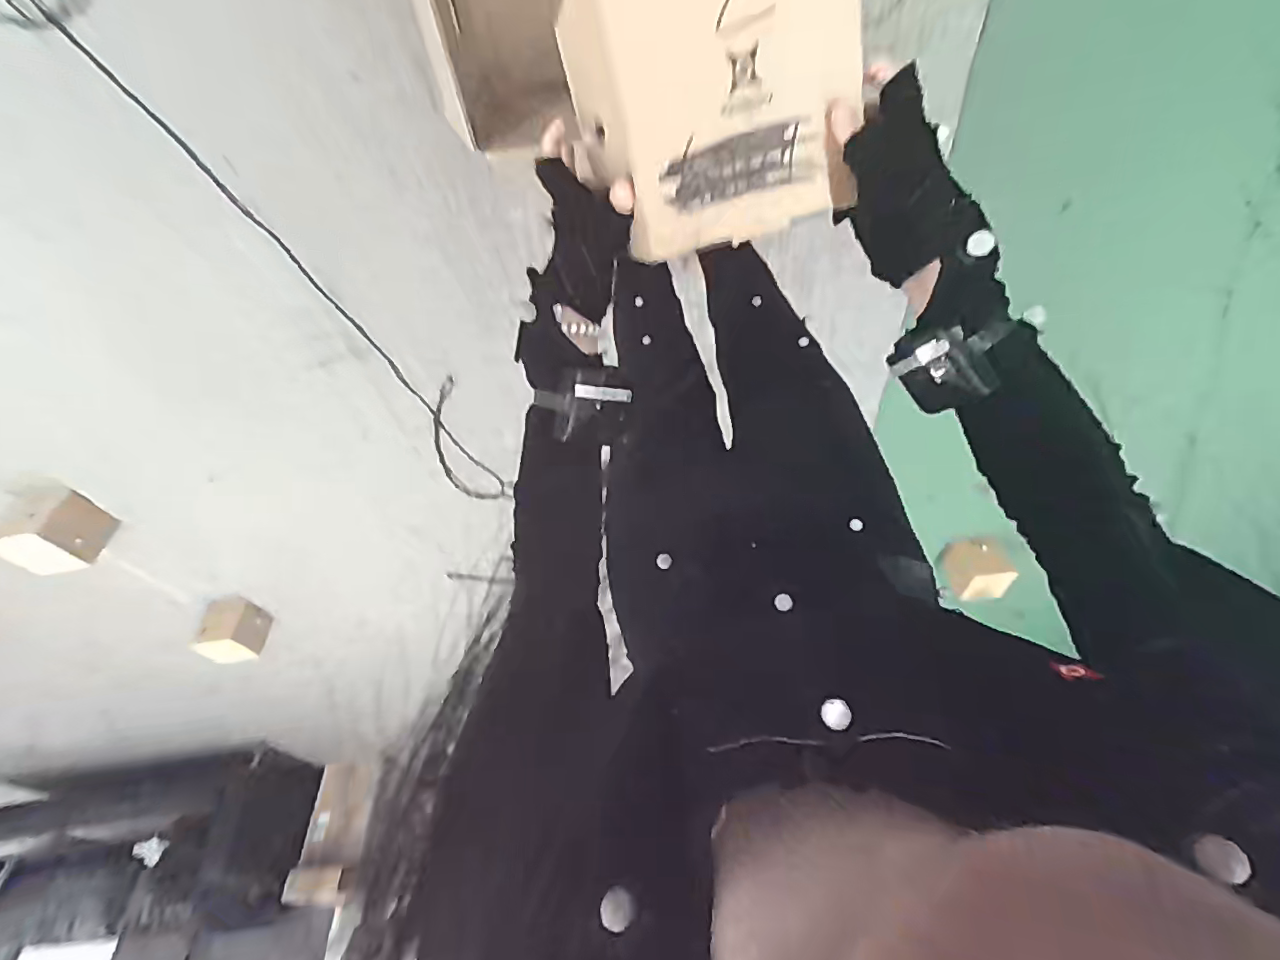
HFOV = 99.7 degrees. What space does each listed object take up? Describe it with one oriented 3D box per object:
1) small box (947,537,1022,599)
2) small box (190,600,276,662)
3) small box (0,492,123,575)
[{"bbox_3d":[1.335,0.345,2.113,0.168,0.176,0.179,-7,138,2],"label":"small box"},{"bbox_3d":[-1.564,0.582,2.091,0.179,0.176,0.168,-9,140,5],"label":"small box"},{"bbox_3d":[-1.692,0.150,1.575,0.168,0.176,0.179,-10,140,4],"label":"small box"}]
